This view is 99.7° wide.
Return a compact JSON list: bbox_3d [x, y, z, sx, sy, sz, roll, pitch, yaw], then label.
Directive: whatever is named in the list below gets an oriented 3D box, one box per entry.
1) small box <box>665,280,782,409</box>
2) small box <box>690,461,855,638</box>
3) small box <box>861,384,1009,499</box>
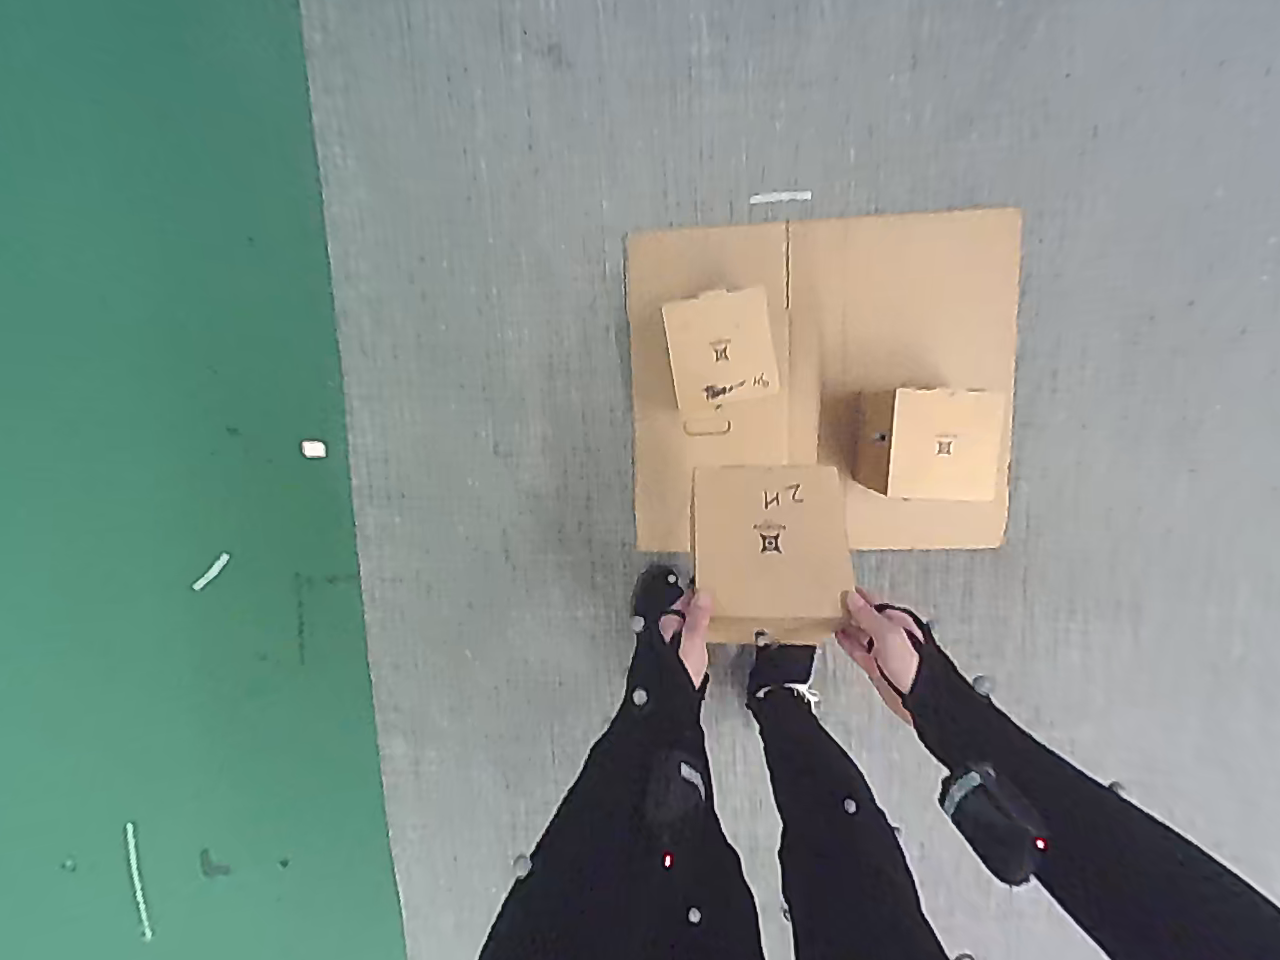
[{"bbox_3d":[0.137,-0.221,0.926,0.168,0.176,0.179,-9,96,6],"label":"small box"},{"bbox_3d":[0.147,0.091,0.660,0.168,0.176,0.179,0,64,4],"label":"small box"},{"bbox_3d":[0.483,-0.069,0.912,0.168,0.176,0.179,2,97,5],"label":"small box"}]
